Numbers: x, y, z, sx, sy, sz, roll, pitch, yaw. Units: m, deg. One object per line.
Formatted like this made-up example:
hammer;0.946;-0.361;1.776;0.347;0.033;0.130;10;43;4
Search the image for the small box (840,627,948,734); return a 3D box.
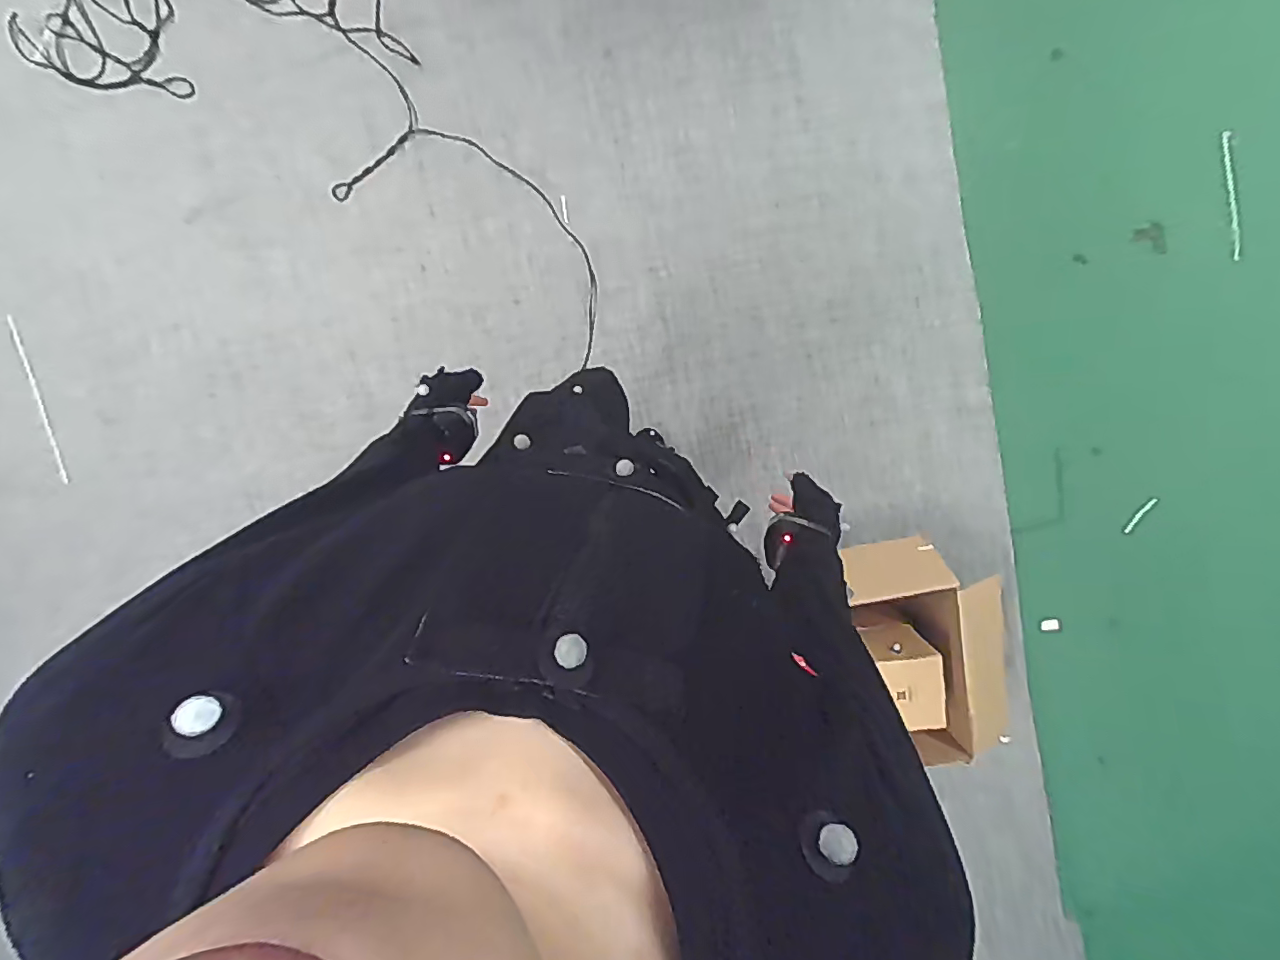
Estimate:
small box;0.570;0.452;1.239;0.179;0.176;0.168;-7;96;2
